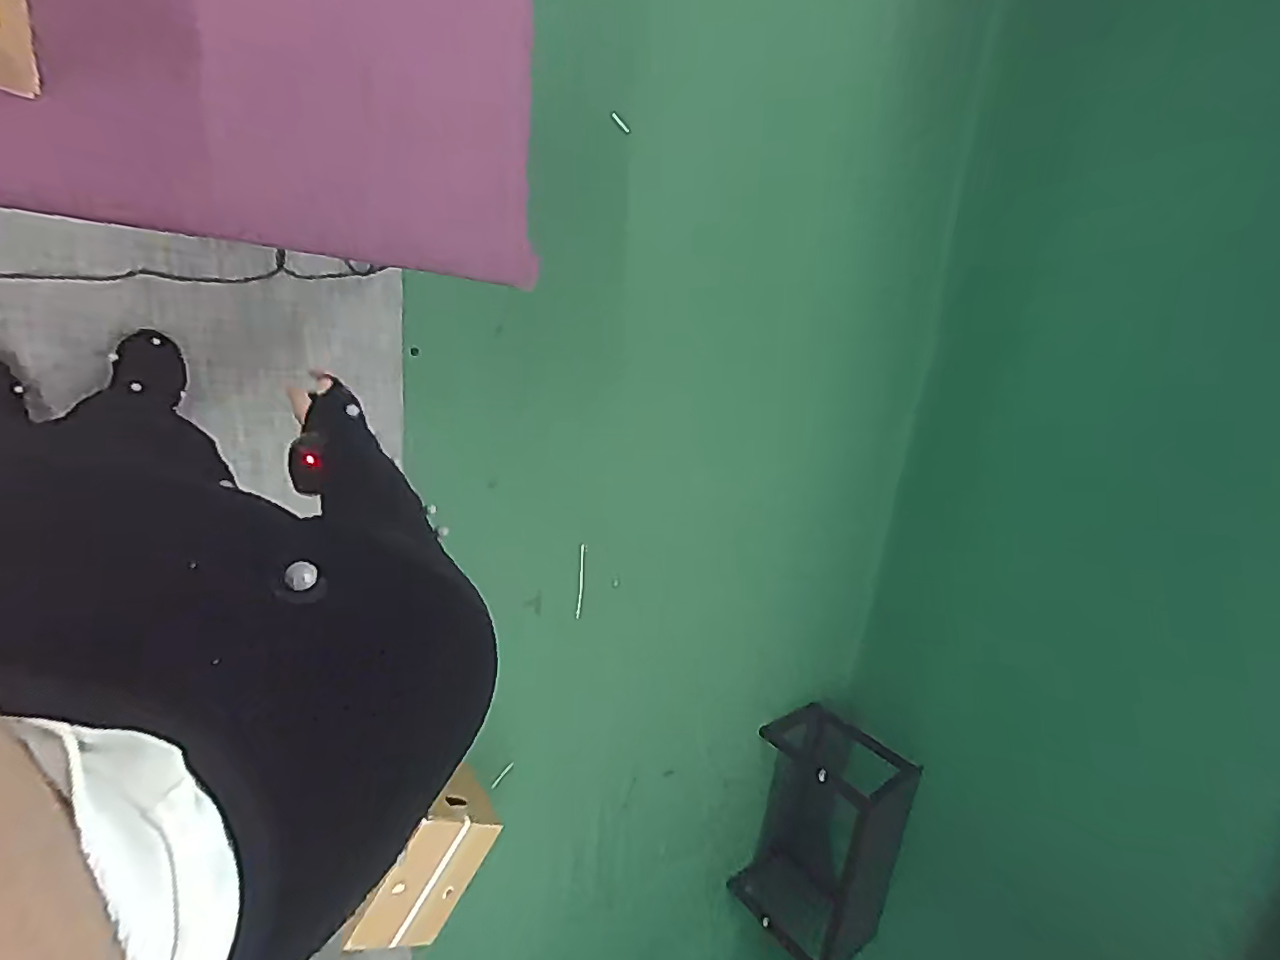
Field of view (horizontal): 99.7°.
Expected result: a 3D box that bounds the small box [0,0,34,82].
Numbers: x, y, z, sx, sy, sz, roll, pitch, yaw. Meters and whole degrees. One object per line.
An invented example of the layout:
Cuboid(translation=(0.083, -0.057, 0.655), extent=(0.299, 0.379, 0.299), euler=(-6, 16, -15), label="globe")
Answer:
Cuboid(translation=(-0.625, -0.462, 0.427), extent=(0.168, 0.176, 0.179), euler=(-6, 109, -39), label="small box")
